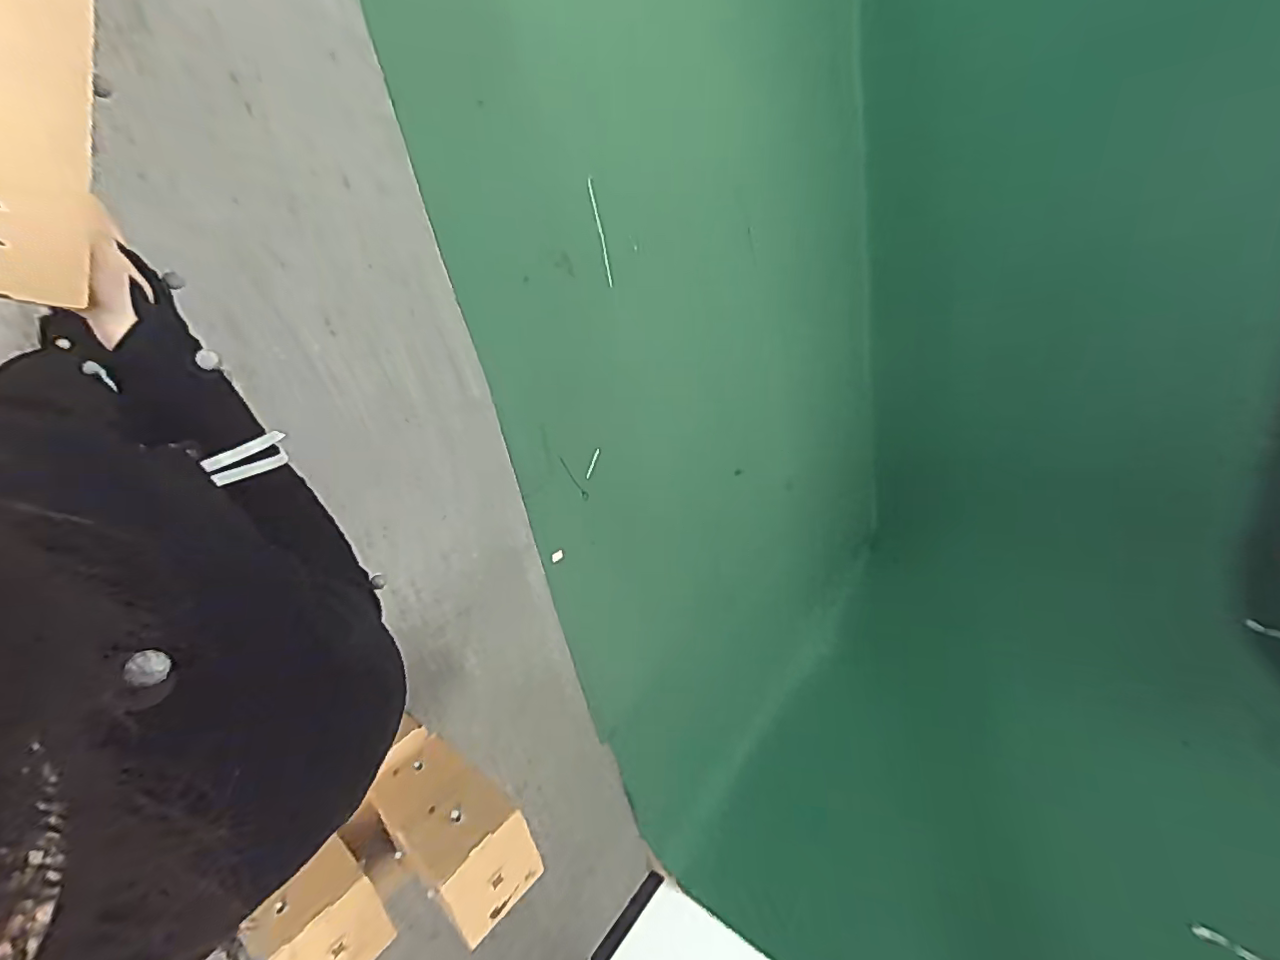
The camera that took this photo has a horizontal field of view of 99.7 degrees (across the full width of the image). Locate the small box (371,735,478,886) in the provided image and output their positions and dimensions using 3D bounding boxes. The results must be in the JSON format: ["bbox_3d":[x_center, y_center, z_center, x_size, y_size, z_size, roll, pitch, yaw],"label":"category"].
[{"bbox_3d":[-0.430,0.682,1.136,0.168,0.176,0.179,-32,118,-38],"label":"small box"}]

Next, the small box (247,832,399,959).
[{"bbox_3d":[-0.580,0.792,0.990,0.168,0.176,0.179,-29,119,-42],"label":"small box"}]

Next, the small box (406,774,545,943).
[{"bbox_3d":[-0.313,0.695,1.023,0.168,0.176,0.179,-30,116,-39],"label":"small box"}]
